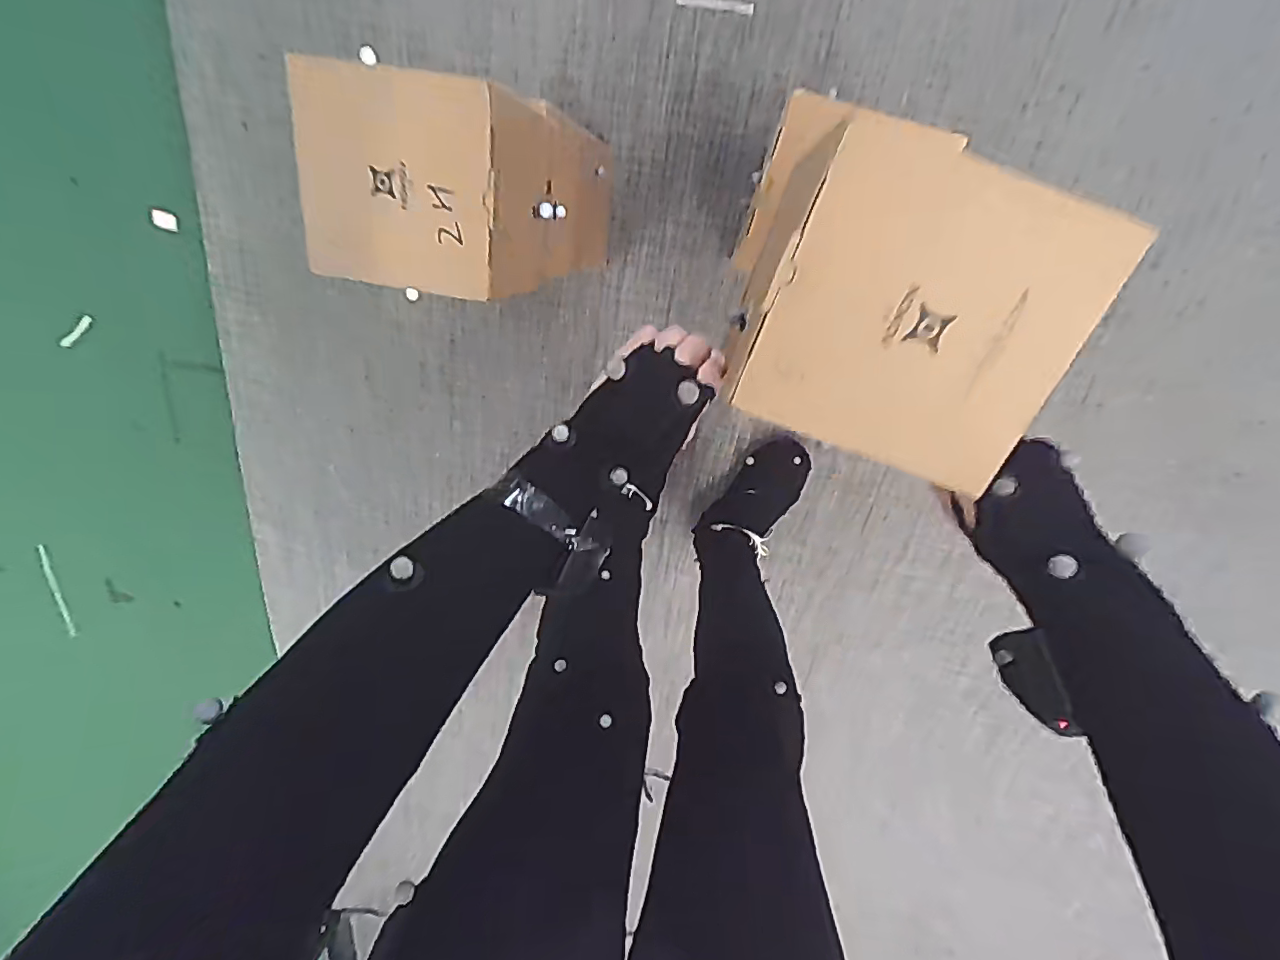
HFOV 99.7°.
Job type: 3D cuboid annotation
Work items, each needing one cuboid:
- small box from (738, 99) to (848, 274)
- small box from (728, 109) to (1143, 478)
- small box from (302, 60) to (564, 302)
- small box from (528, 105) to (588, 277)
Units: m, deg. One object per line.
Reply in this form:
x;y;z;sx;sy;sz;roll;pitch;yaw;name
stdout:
0.224;-0.310;0.631;0.179;0.176;0.168;17;115;3;small box
0.173;-0.128;0.392;0.179;0.176;0.168;19;113;-3;small box
-0.188;-0.279;0.533;0.179;0.176;0.168;11;114;5;small box
-0.167;-0.355;0.679;0.168;0.176;0.179;10;113;5;small box
